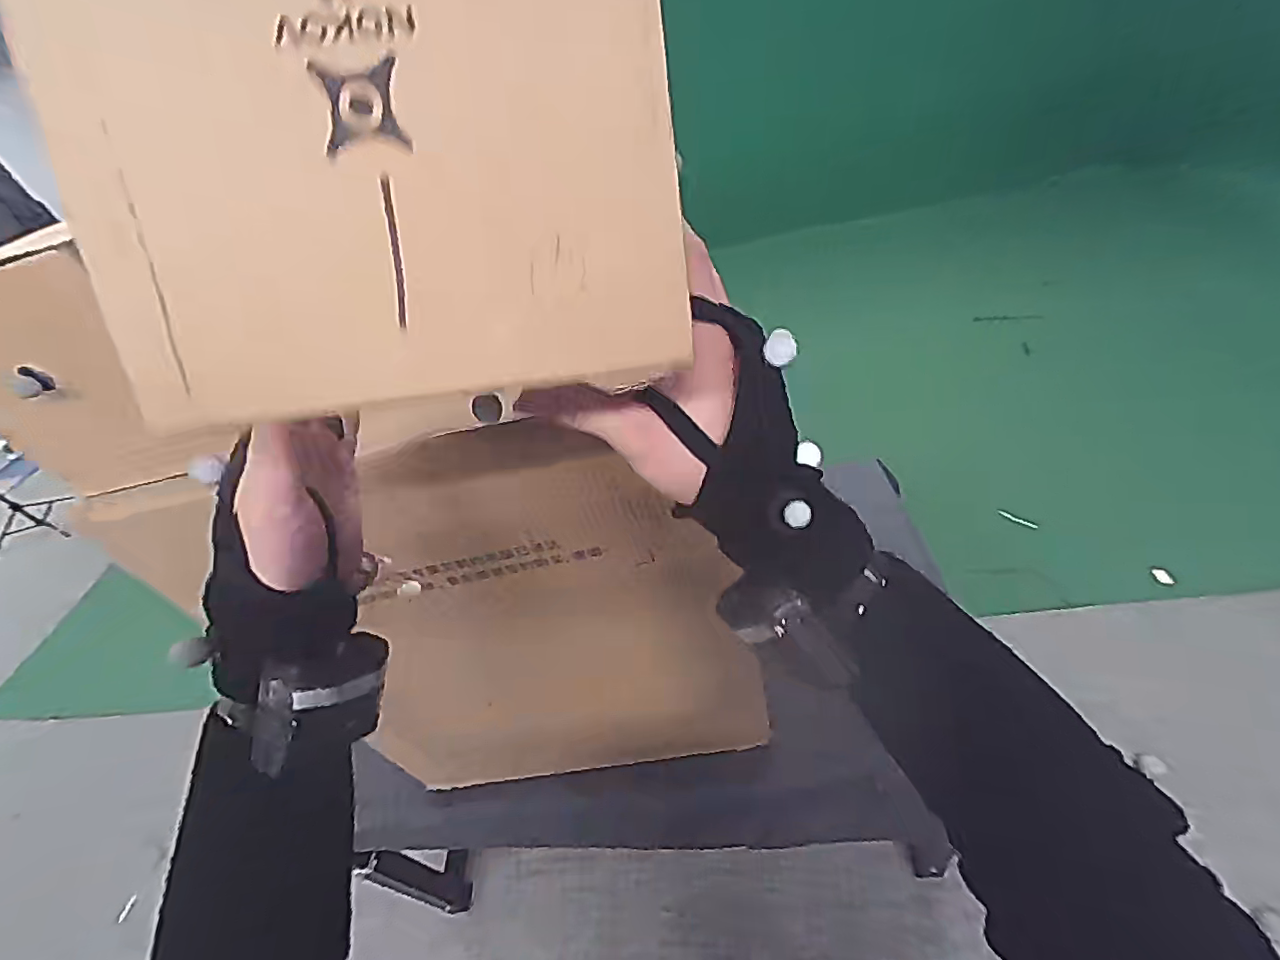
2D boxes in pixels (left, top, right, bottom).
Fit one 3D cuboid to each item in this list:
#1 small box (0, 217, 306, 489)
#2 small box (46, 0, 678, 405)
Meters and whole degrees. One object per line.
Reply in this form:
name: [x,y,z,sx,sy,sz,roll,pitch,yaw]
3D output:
small box: [-0.400,-0.114,0.445,0.179,0.176,0.168,-13,43,9]
small box: [-0.084,-0.130,0.235,0.168,0.179,0.176,-8,11,-3]
